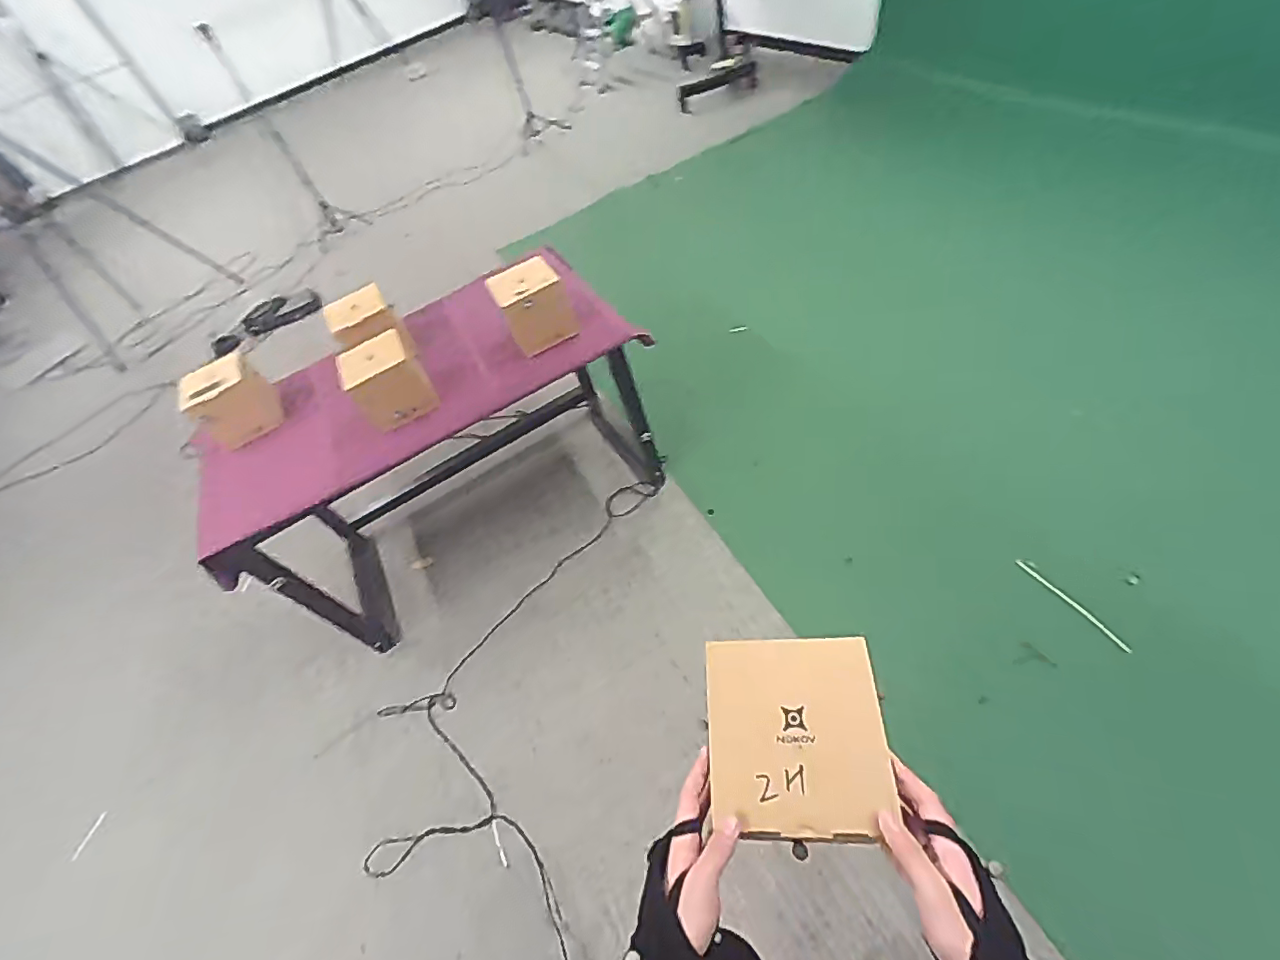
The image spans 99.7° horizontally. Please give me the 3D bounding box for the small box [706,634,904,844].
[{"bbox_3d":[0.159,0.279,0.578,0.168,0.176,0.179,-5,55,10],"label":"small box"}]

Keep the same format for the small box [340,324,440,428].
[{"bbox_3d":[-0.650,-0.269,1.414,0.168,0.176,0.179,-30,50,-7],"label":"small box"}]

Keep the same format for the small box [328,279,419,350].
[{"bbox_3d":[-0.786,-0.456,1.600,0.168,0.176,0.179,-31,52,-9],"label":"small box"}]

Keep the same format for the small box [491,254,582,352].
[{"bbox_3d":[-0.279,-0.478,1.469,0.168,0.176,0.179,-29,48,-5],"label":"small box"}]
